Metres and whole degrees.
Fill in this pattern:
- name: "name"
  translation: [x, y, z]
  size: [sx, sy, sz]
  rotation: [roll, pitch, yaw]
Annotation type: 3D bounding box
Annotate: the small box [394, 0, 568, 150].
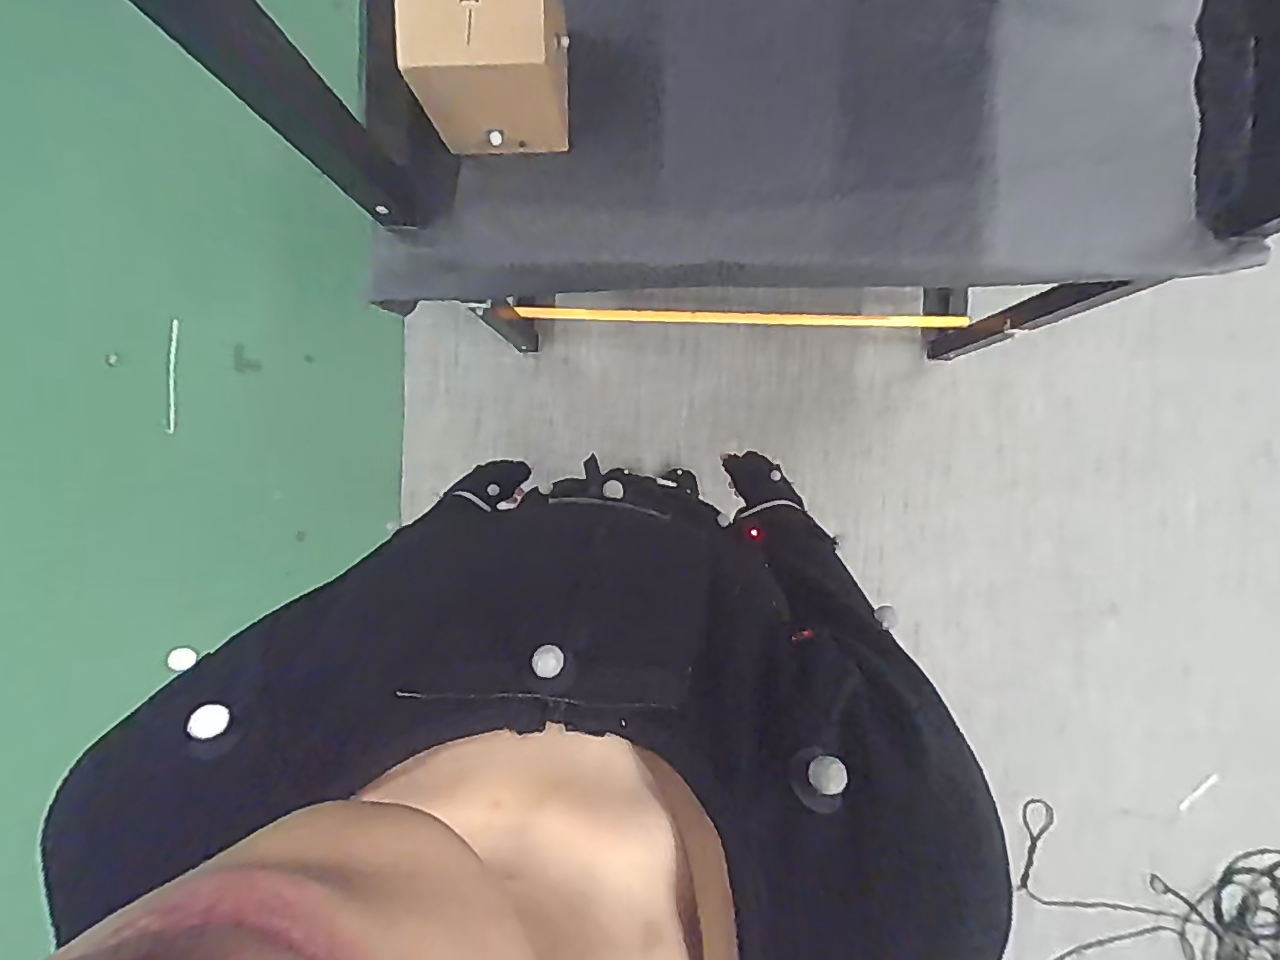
- name: "small box"
  translation: [-0.183, -0.541, 0.661]
  size: [0.168, 0.176, 0.179]
  rotation: [-1, 91, 1]
